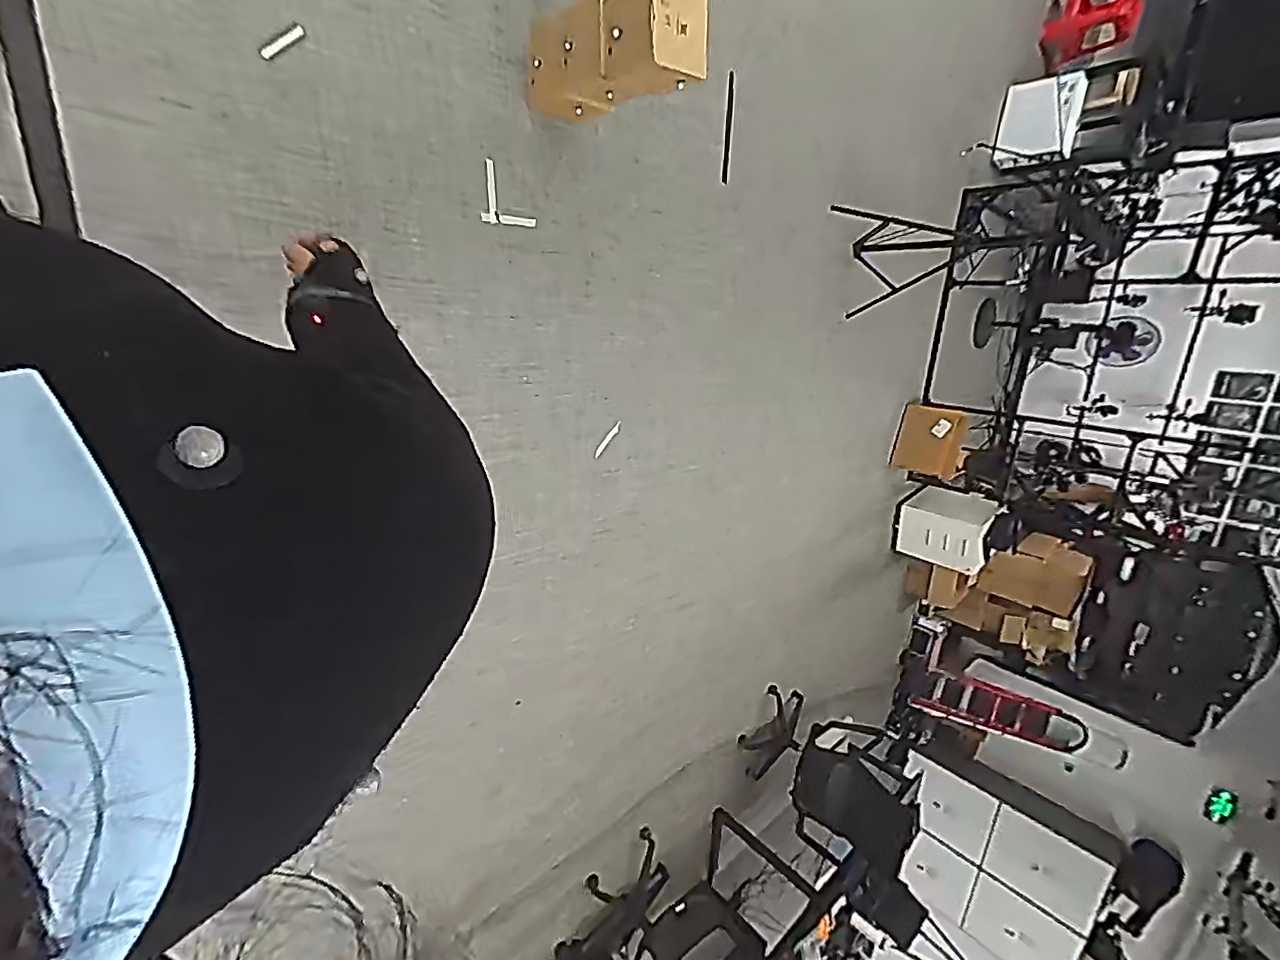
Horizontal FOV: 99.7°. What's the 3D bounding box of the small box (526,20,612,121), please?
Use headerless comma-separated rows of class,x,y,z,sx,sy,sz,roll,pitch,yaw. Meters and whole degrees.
small box,-0.194,-1.111,1.487,0.179,0.176,0.168,-14,114,-40

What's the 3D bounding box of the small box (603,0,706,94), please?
small box,0.034,-1.029,1.264,0.179,0.176,0.168,-18,116,-38
